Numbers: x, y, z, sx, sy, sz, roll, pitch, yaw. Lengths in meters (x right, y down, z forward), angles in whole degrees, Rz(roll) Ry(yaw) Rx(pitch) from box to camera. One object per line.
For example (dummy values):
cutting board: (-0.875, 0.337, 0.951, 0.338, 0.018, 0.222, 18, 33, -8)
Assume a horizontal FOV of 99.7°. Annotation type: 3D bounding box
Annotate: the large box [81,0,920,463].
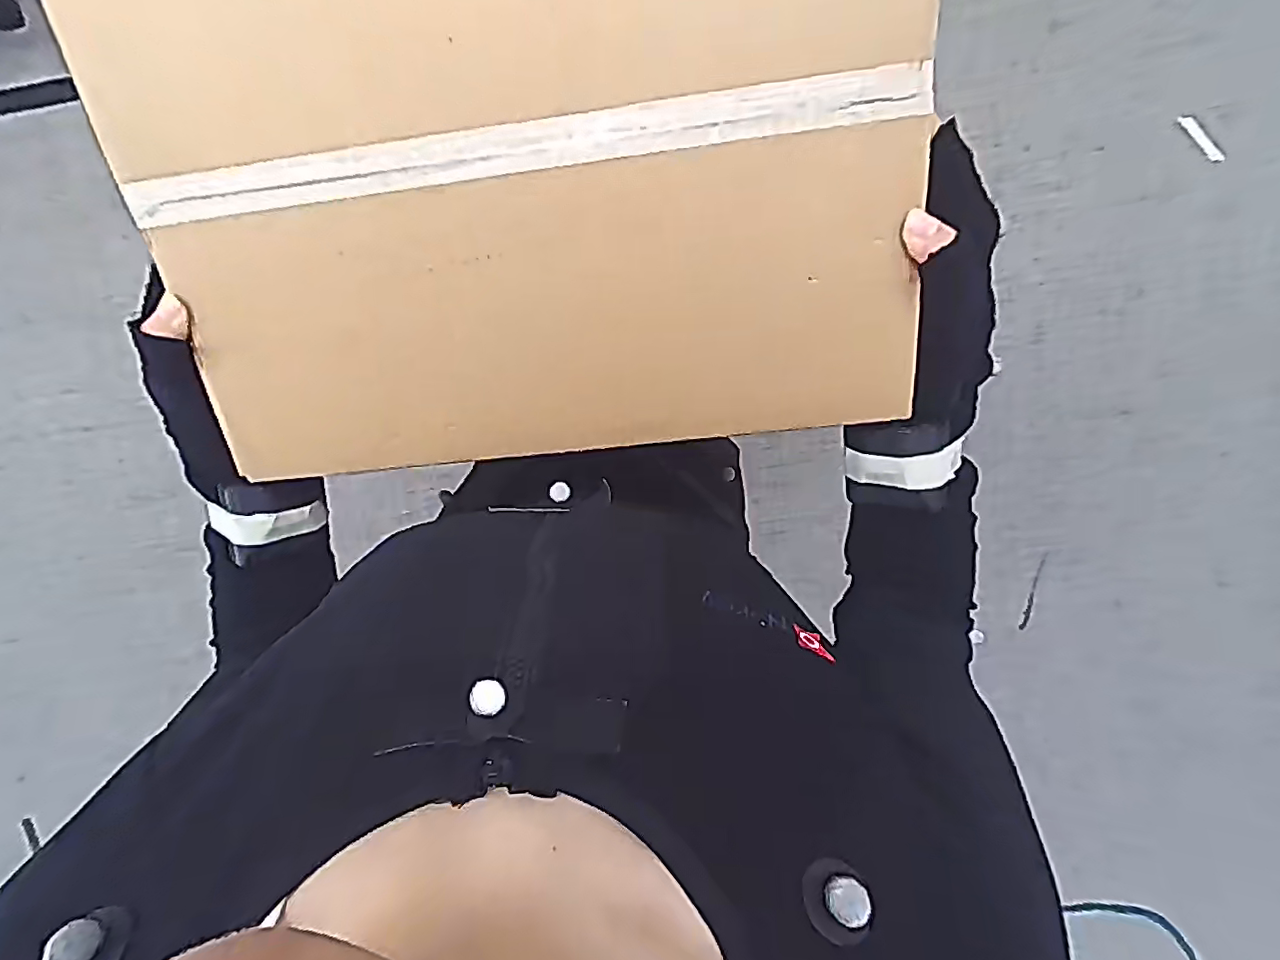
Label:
large box: (-0.060, -0.226, 0.415, 0.408, 0.320, 0.320, -5, 112, 5)
